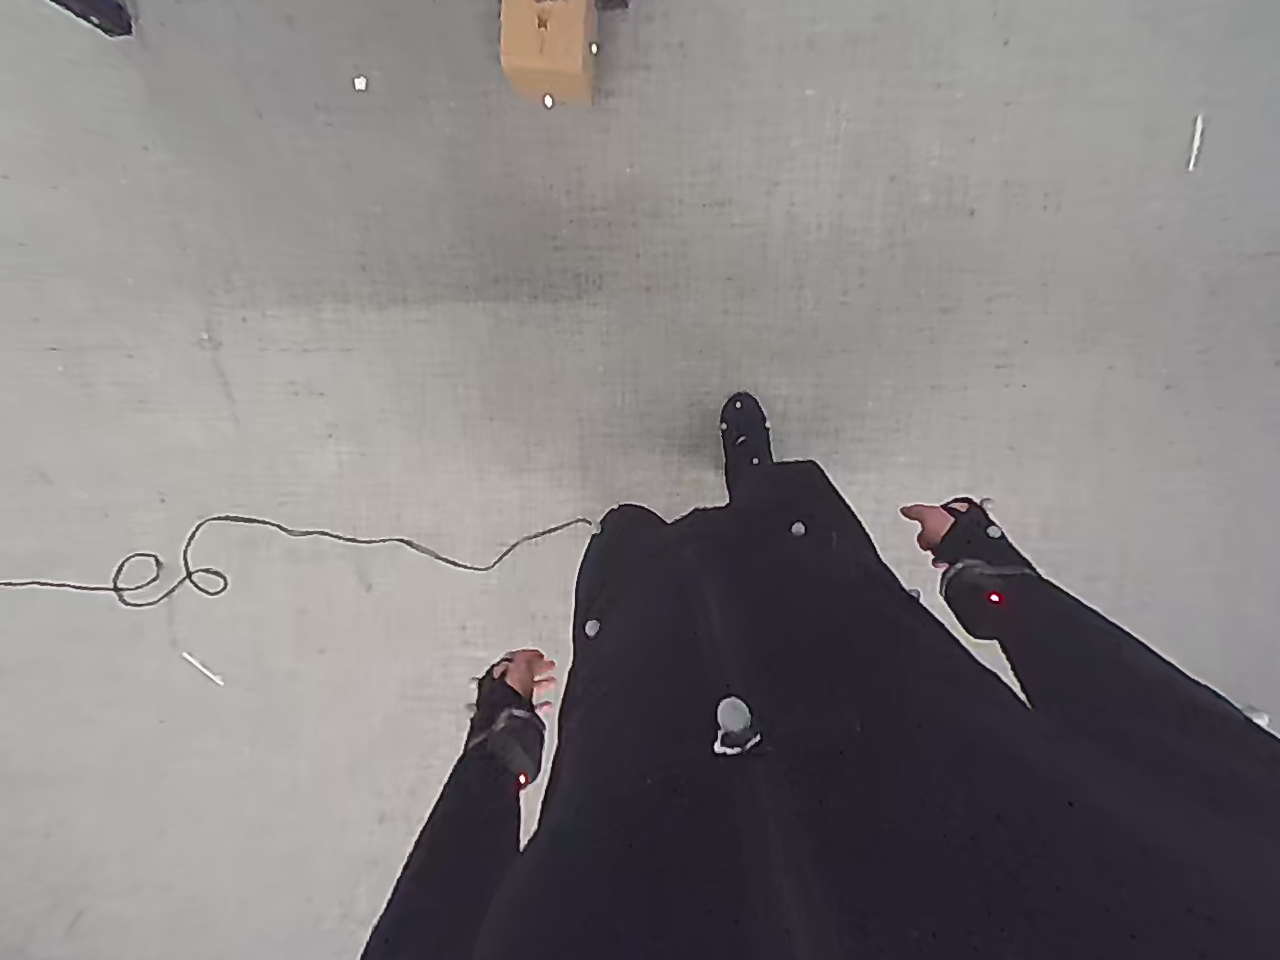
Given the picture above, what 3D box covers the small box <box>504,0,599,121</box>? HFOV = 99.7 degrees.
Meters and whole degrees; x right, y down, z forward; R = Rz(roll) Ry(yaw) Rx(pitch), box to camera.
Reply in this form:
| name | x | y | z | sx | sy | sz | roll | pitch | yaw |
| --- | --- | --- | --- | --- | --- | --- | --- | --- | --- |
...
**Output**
| name | x | y | z | sx | sy | sz | roll | pitch | yaw |
| --- | --- | --- | --- | --- | --- | --- | --- | --- | --- |
| small box | -0.180 | -0.899 | 1.143 | 0.168 | 0.176 | 0.179 | 5 | 102 | 2 |
